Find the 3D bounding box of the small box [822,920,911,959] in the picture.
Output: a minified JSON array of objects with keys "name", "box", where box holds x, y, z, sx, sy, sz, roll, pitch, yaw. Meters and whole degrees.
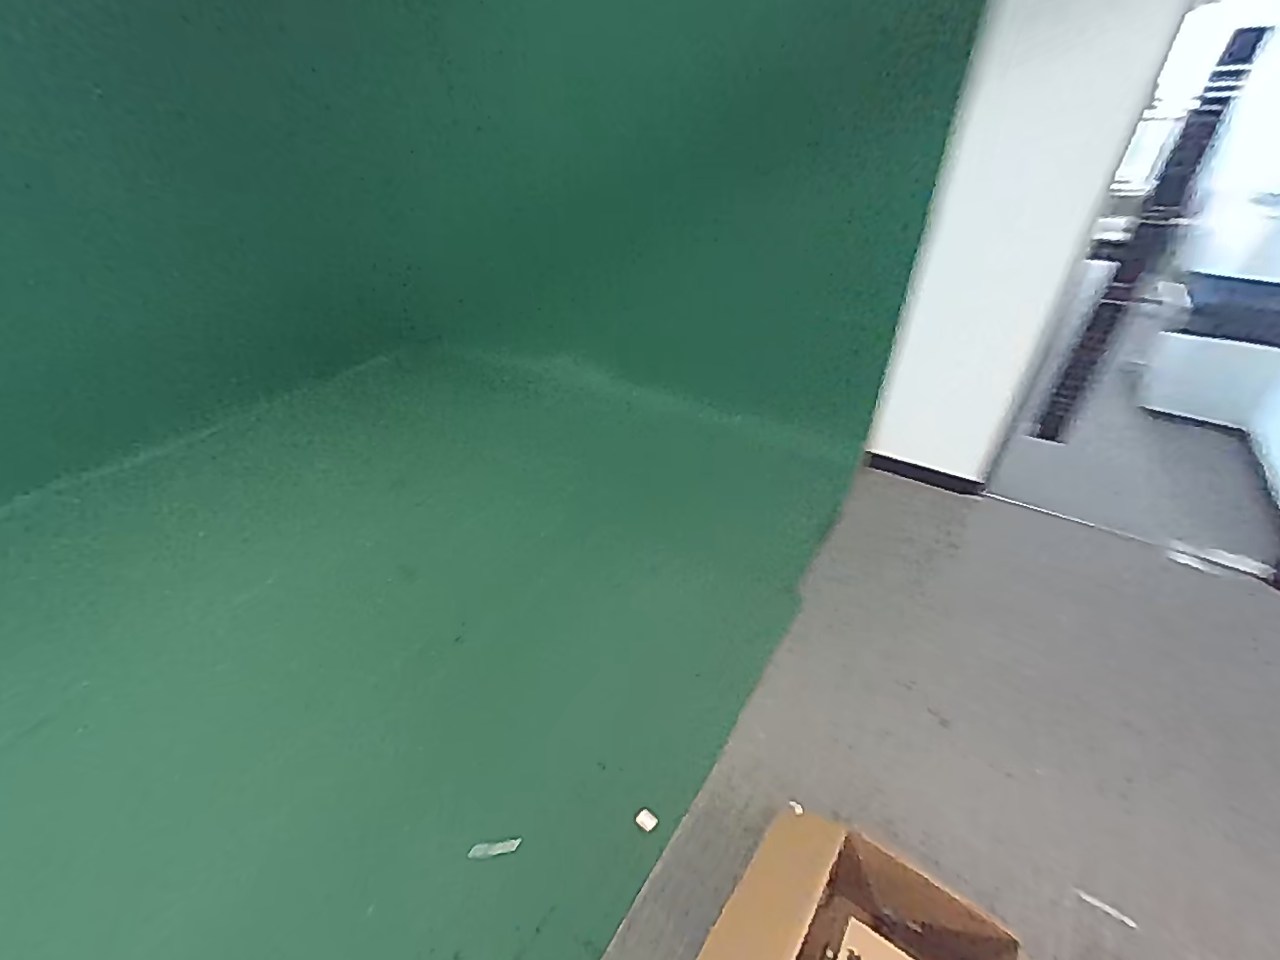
[{"name":"small box","box":[0.381,0.877,0.876,0.179,0.176,0.168,26,43,26]}]
